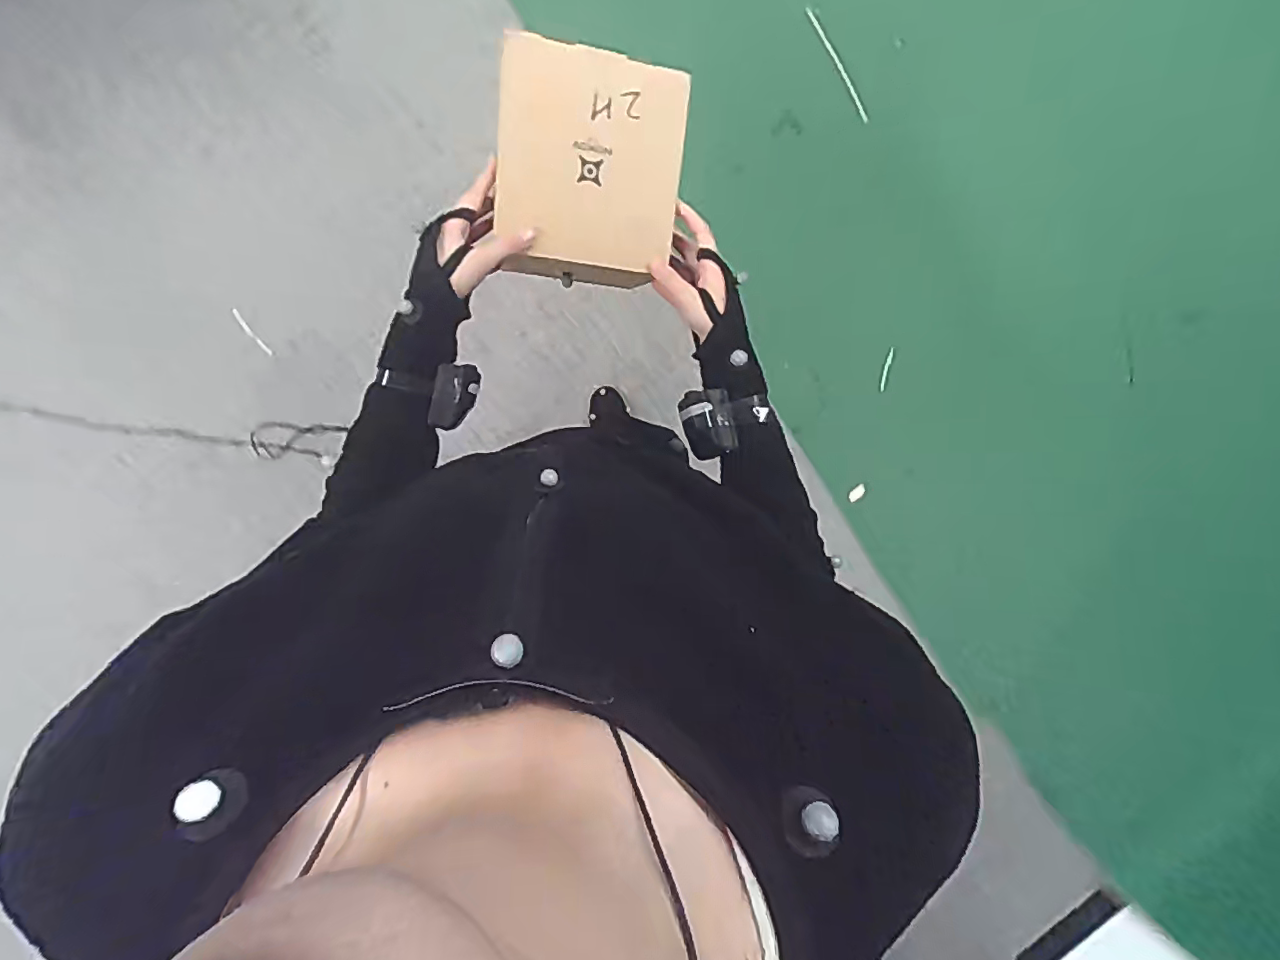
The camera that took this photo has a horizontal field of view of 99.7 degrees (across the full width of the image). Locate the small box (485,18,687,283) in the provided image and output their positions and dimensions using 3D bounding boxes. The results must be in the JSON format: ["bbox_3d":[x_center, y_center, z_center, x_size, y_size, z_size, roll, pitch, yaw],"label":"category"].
[{"bbox_3d":[-0.063,-0.306,0.550,0.168,0.176,0.179,3,103,-14],"label":"small box"}]
